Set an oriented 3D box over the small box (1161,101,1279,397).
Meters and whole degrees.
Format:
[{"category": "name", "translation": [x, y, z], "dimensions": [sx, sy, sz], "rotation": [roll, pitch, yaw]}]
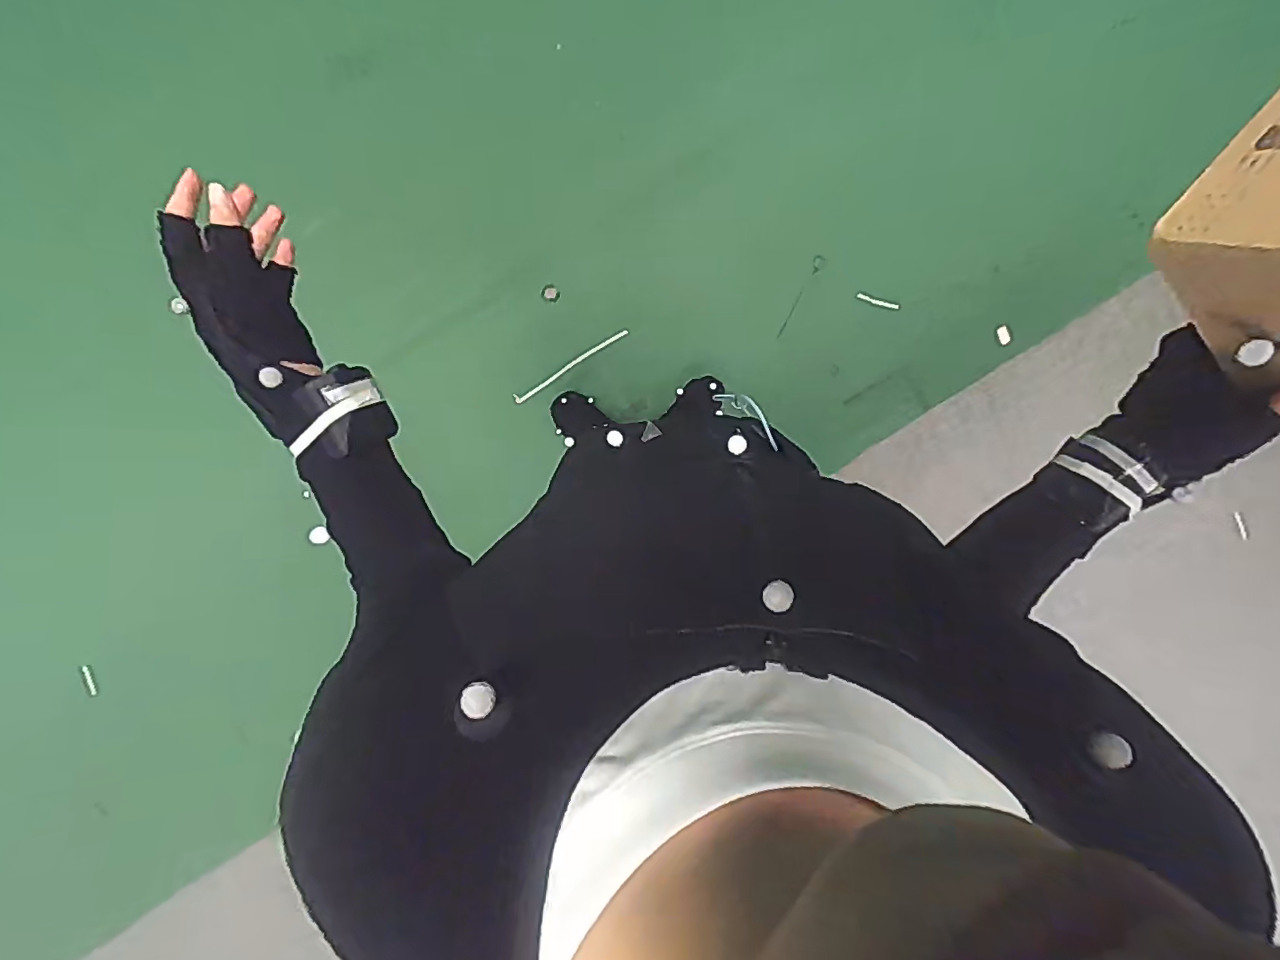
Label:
[{"category": "small box", "translation": [0.420, -0.123, 0.255], "dimensions": [0.179, 0.176, 0.168], "rotation": [30, 106, -26]}]
